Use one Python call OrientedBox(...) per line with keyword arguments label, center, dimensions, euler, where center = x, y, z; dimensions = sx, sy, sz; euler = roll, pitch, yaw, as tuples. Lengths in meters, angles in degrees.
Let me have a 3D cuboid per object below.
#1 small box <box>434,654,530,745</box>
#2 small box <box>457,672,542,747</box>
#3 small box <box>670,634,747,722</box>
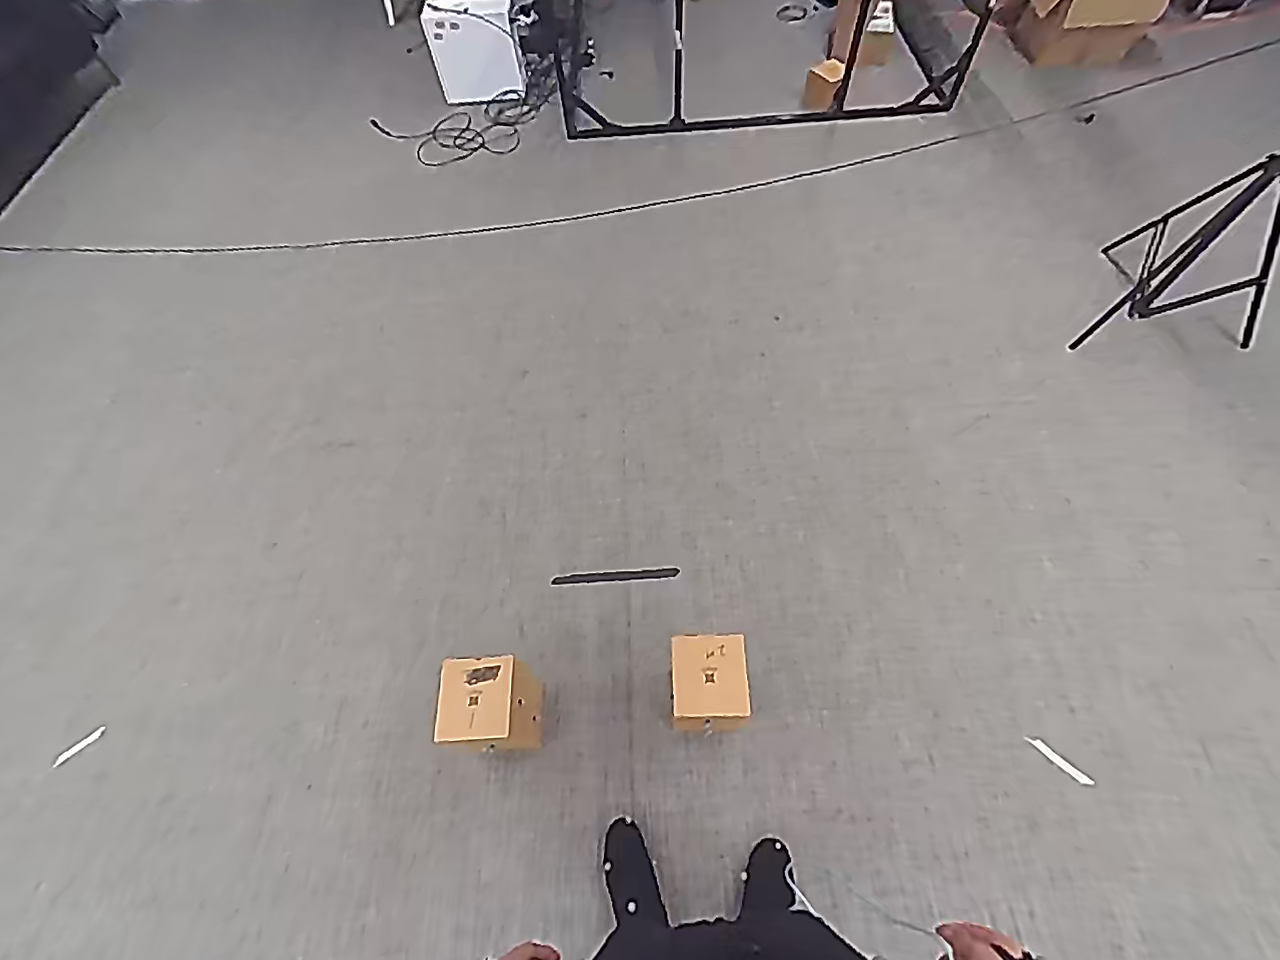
OrientedBox(label="small box", center=(-0.361, 0.517, 1.269), dimensions=(0.168, 0.176, 0.179), euler=(-4, 61, 2))
OrientedBox(label="small box", center=(-0.357, 0.600, 1.411), dimensions=(0.179, 0.176, 0.168), euler=(-5, 61, 2))
OrientedBox(label="small box", center=(0.155, 0.467, 1.266), dimensions=(0.168, 0.176, 0.179), euler=(-1, 61, 2))
